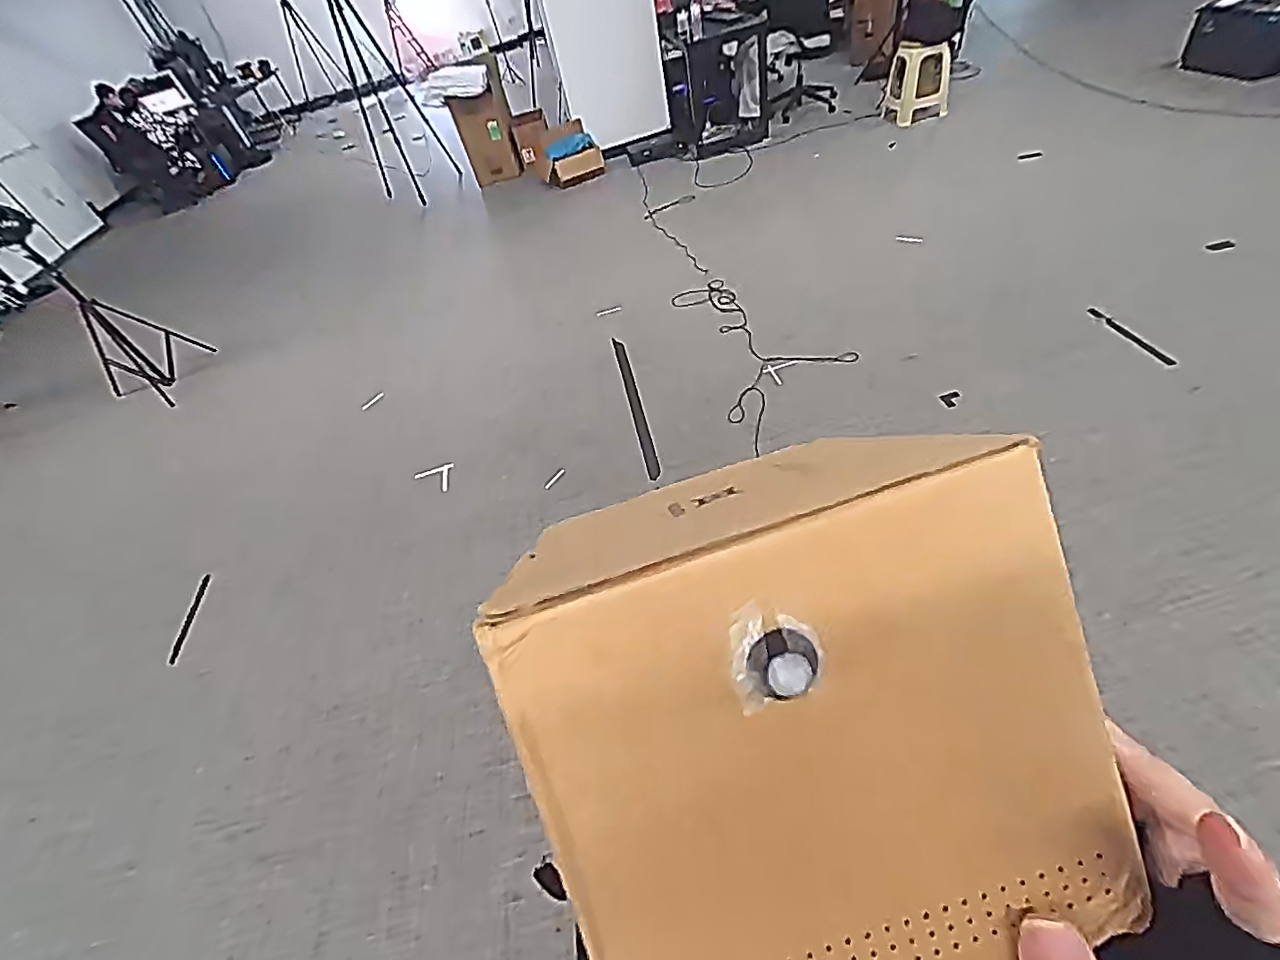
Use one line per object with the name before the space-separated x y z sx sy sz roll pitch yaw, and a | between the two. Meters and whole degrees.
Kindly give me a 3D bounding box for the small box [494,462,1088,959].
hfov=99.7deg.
small box | 0.057 0.098 0.259 0.179 0.176 0.168 -18 5 -1
